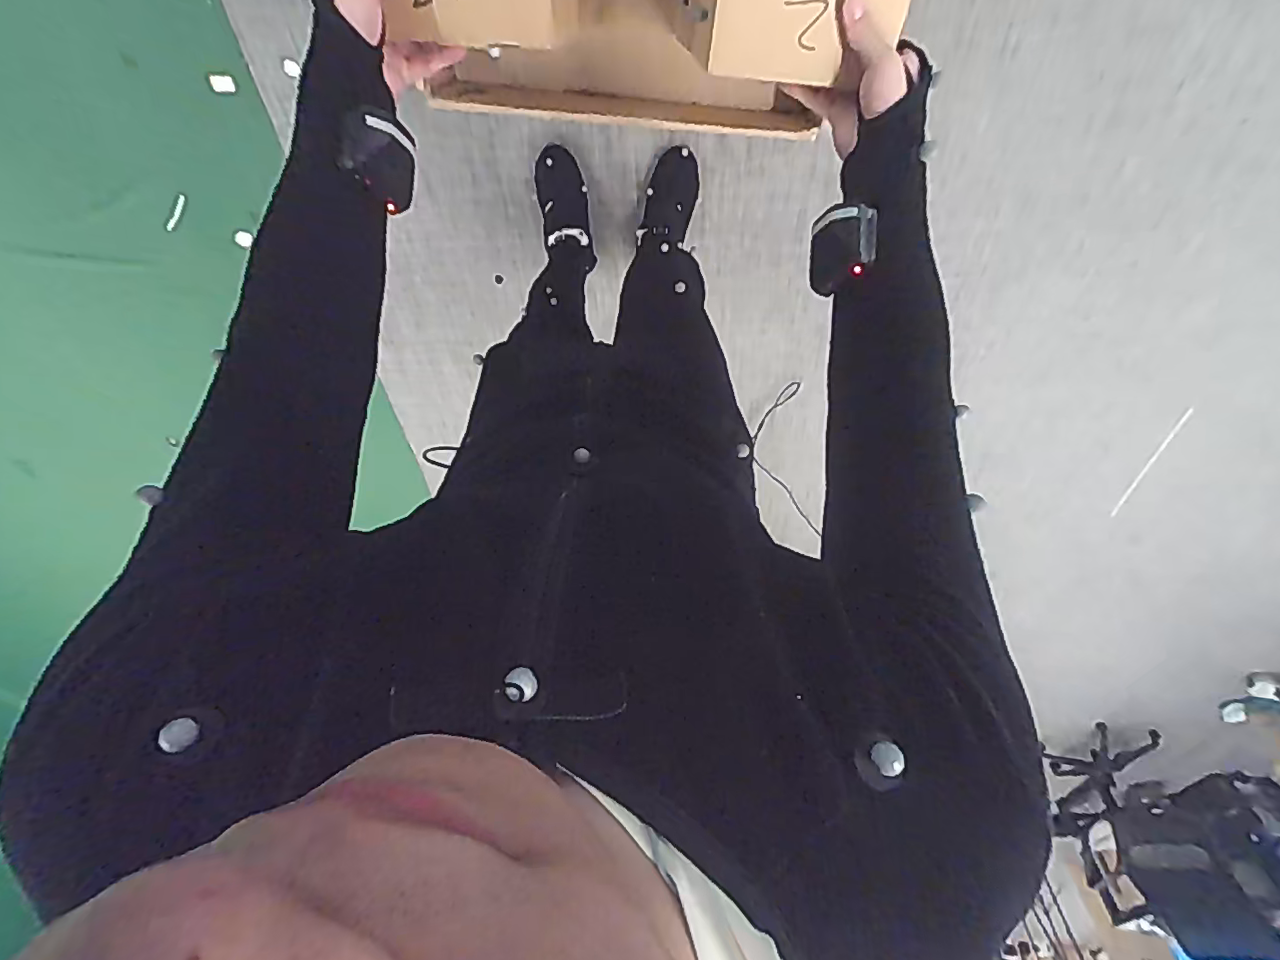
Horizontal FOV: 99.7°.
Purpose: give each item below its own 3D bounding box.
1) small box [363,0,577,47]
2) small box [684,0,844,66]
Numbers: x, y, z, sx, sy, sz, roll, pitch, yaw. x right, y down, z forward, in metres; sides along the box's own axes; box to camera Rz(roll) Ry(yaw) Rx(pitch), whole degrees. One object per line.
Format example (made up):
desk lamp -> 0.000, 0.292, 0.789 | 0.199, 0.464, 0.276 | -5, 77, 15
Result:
small box -> -0.151, -0.508, 0.484 | 0.168, 0.176, 0.179 | 4, 133, 2
small box -> 0.142, -0.593, 0.613 | 0.168, 0.176, 0.179 | 4, 130, -3
